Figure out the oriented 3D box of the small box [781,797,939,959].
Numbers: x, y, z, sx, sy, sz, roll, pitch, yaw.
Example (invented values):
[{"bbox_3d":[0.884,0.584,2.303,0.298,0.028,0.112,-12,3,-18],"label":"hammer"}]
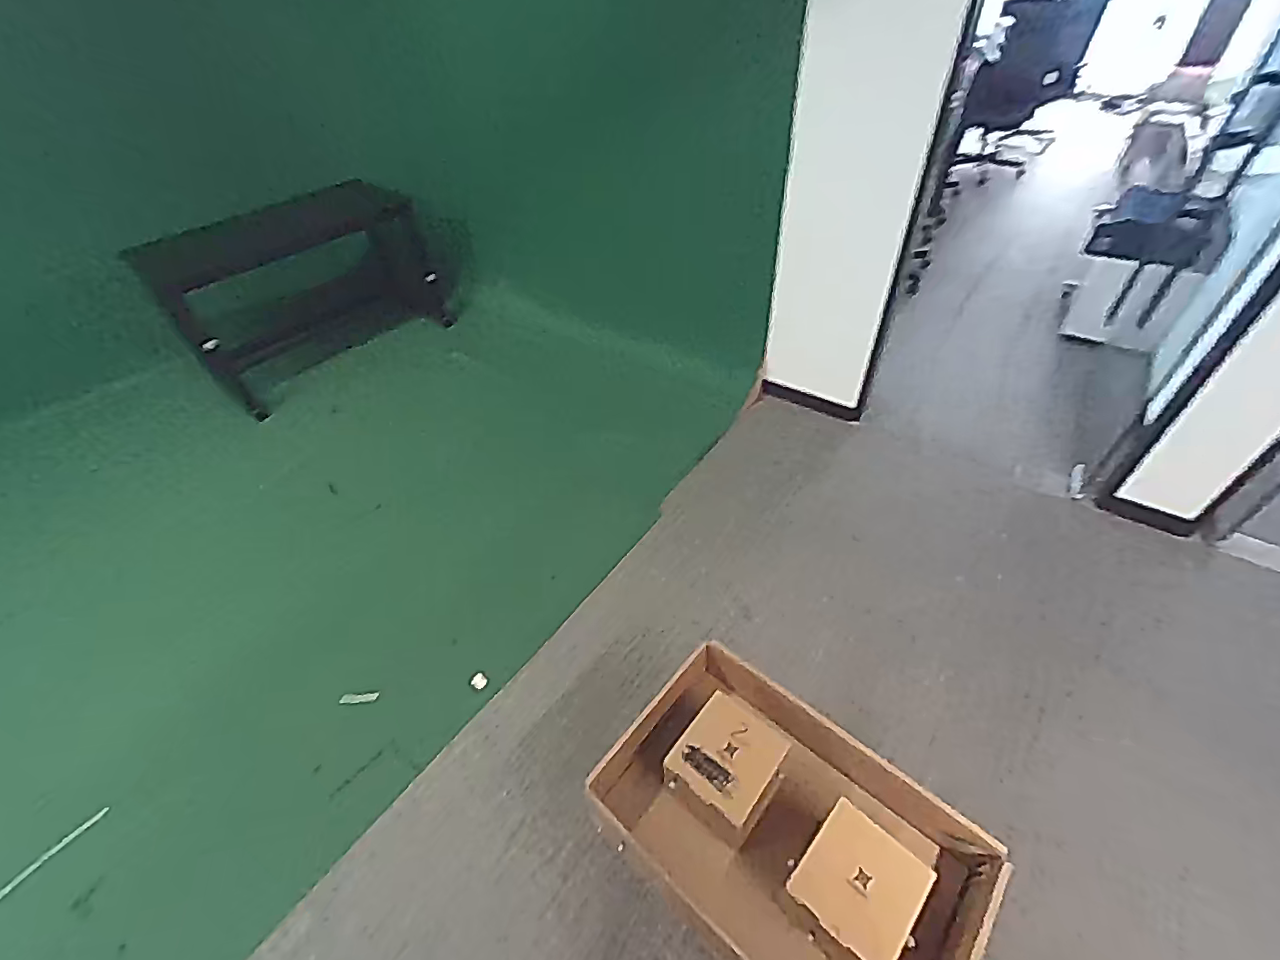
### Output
[{"bbox_3d":[0.348,0.671,0.885,0.168,0.176,0.179,32,57,31],"label":"small box"}]
